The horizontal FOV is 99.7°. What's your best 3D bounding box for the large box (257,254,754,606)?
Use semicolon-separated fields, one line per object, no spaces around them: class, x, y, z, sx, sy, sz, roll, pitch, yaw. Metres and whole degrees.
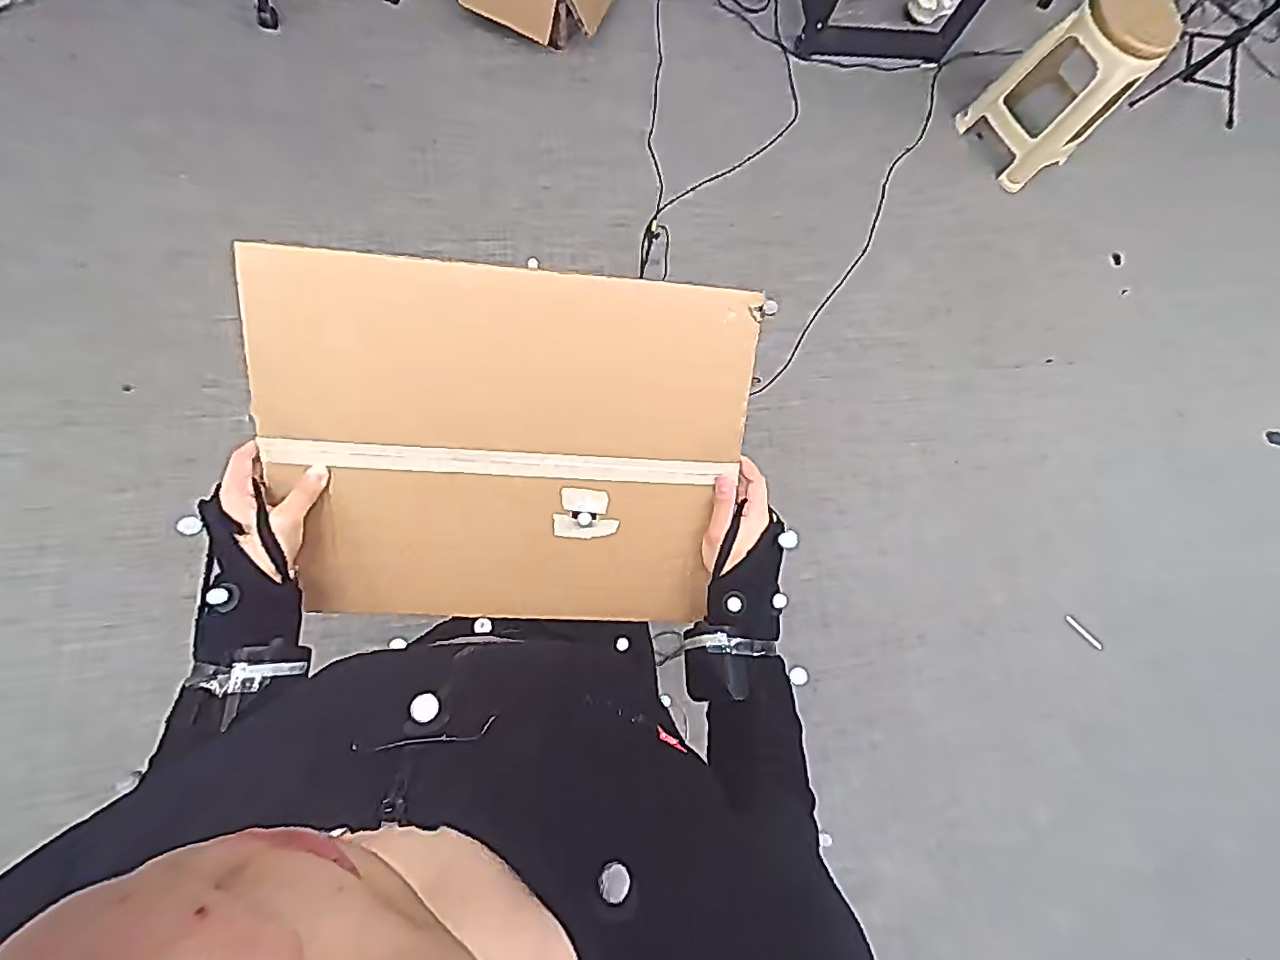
large box;-0.126;-0.069;0.624;0.408;0.320;0.320;2;109;-8
